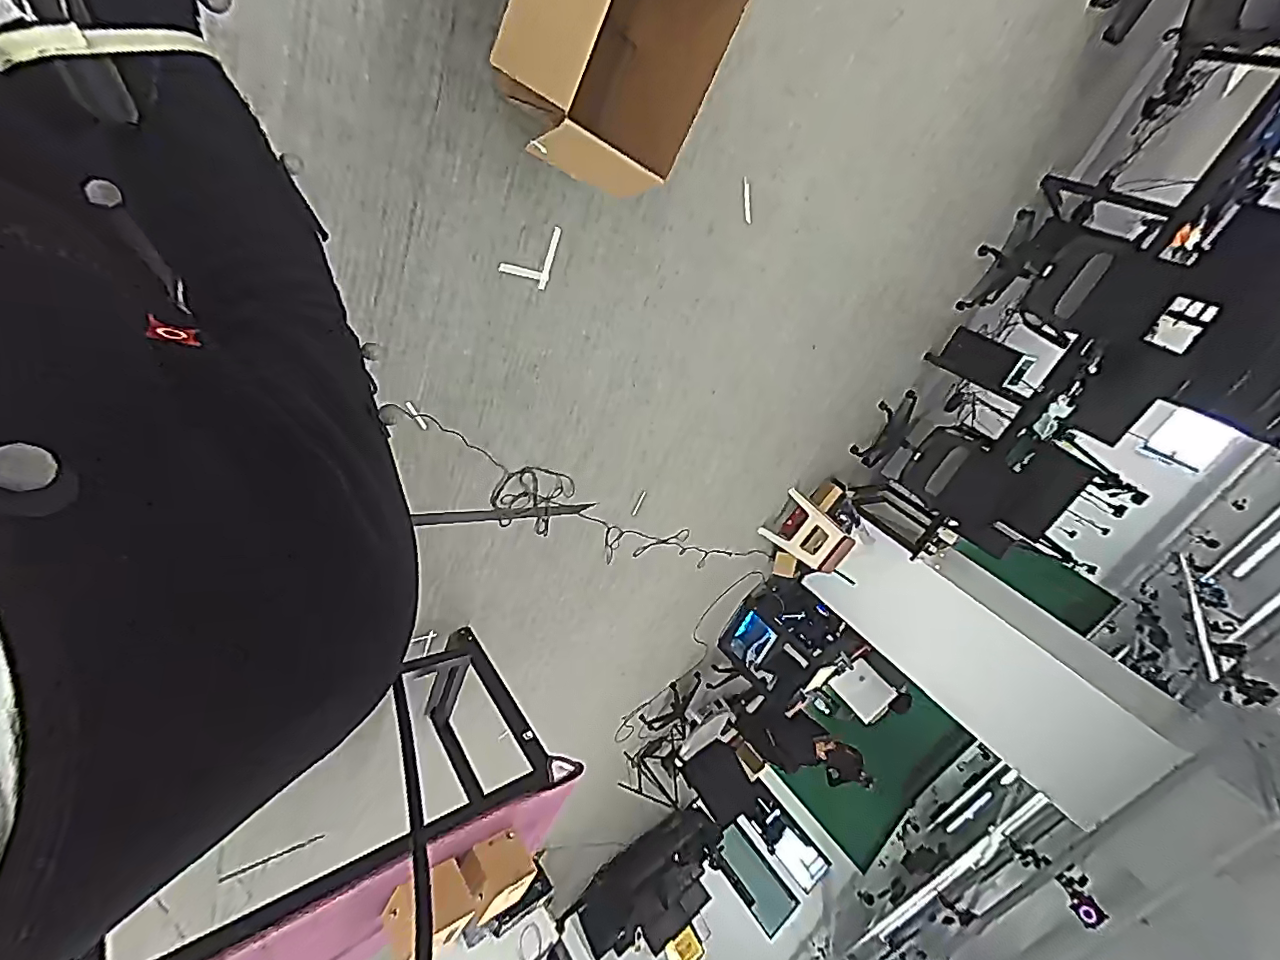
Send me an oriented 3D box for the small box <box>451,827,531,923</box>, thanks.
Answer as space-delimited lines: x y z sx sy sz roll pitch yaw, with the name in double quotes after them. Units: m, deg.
-0.493 1.282 1.775 0.168 0.176 0.179 5 120 -50 "small box"
